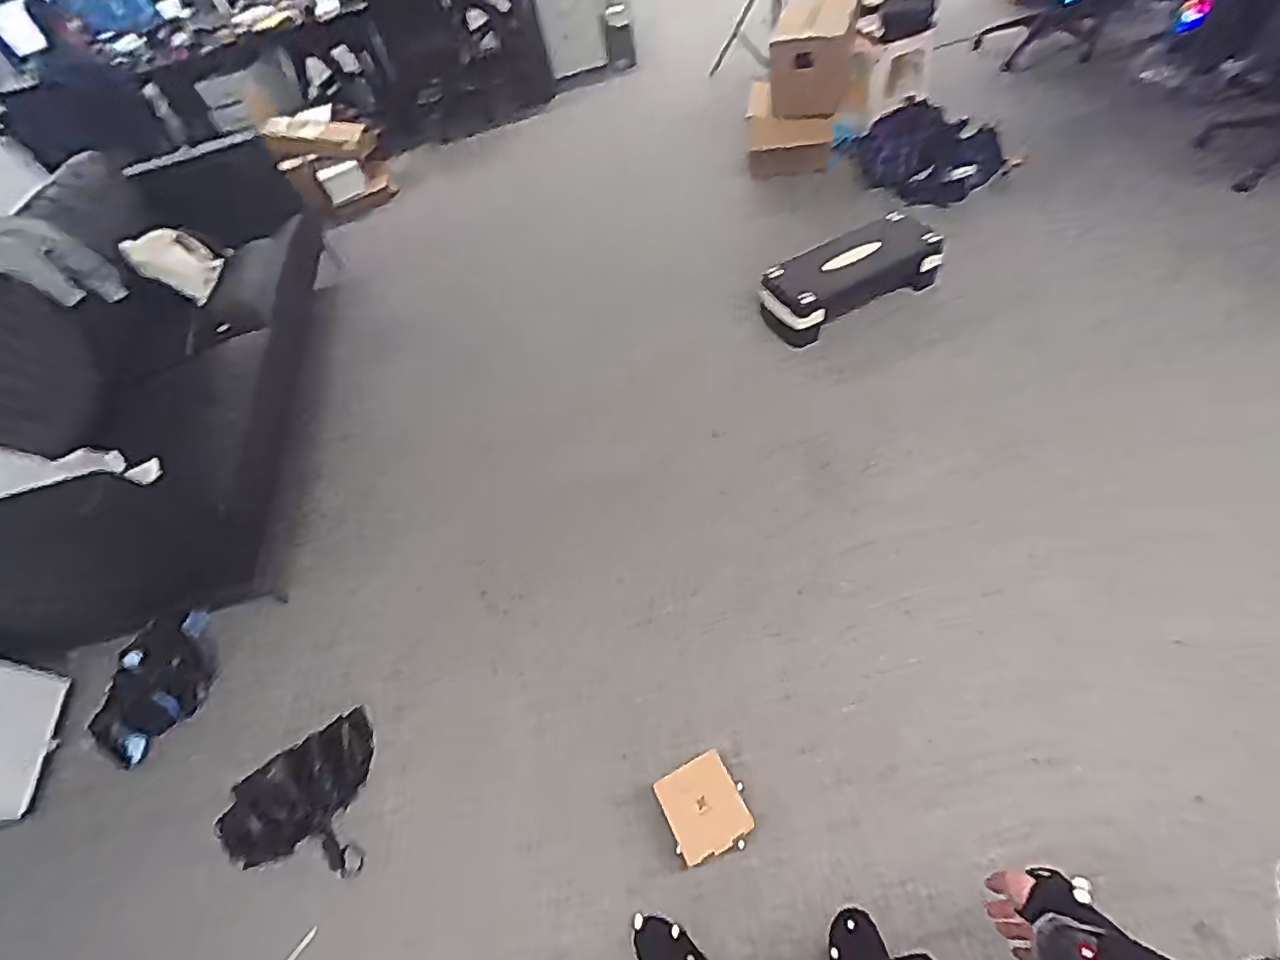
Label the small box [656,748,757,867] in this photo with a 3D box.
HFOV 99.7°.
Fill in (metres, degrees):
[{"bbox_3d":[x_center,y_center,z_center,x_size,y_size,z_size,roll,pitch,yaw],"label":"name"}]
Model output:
[{"bbox_3d":[0.157,0.754,1.247,0.168,0.176,0.179,-27,53,-8],"label":"small box"}]
